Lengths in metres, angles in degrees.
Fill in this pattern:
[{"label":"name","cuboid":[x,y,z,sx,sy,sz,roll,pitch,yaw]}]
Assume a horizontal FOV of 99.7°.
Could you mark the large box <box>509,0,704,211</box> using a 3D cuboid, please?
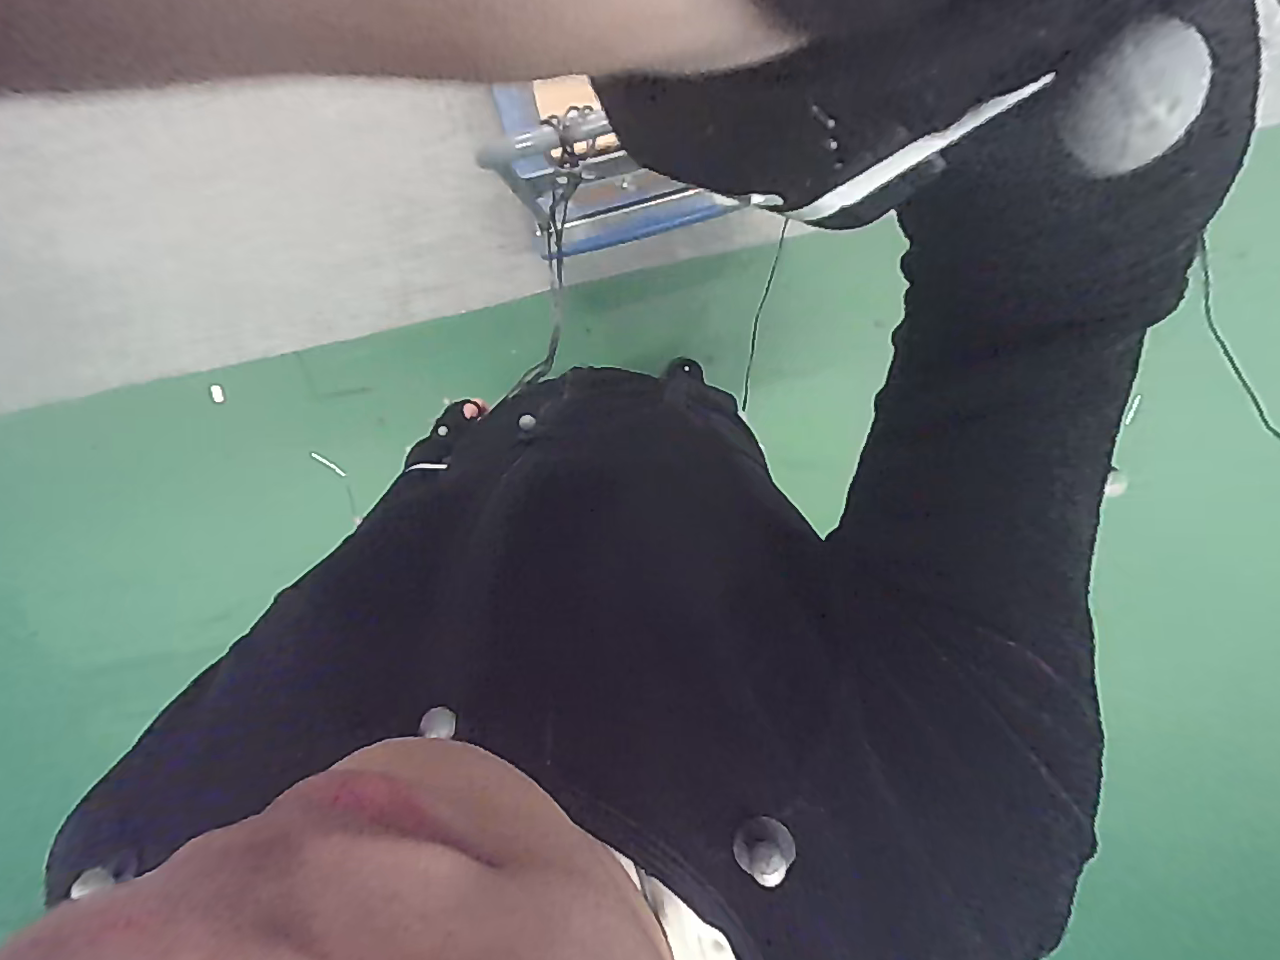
[{"label":"large box","cuboid":[-0.067,-0.858,1.149,0.320,0.320,0.408,-12,100,3]}]
